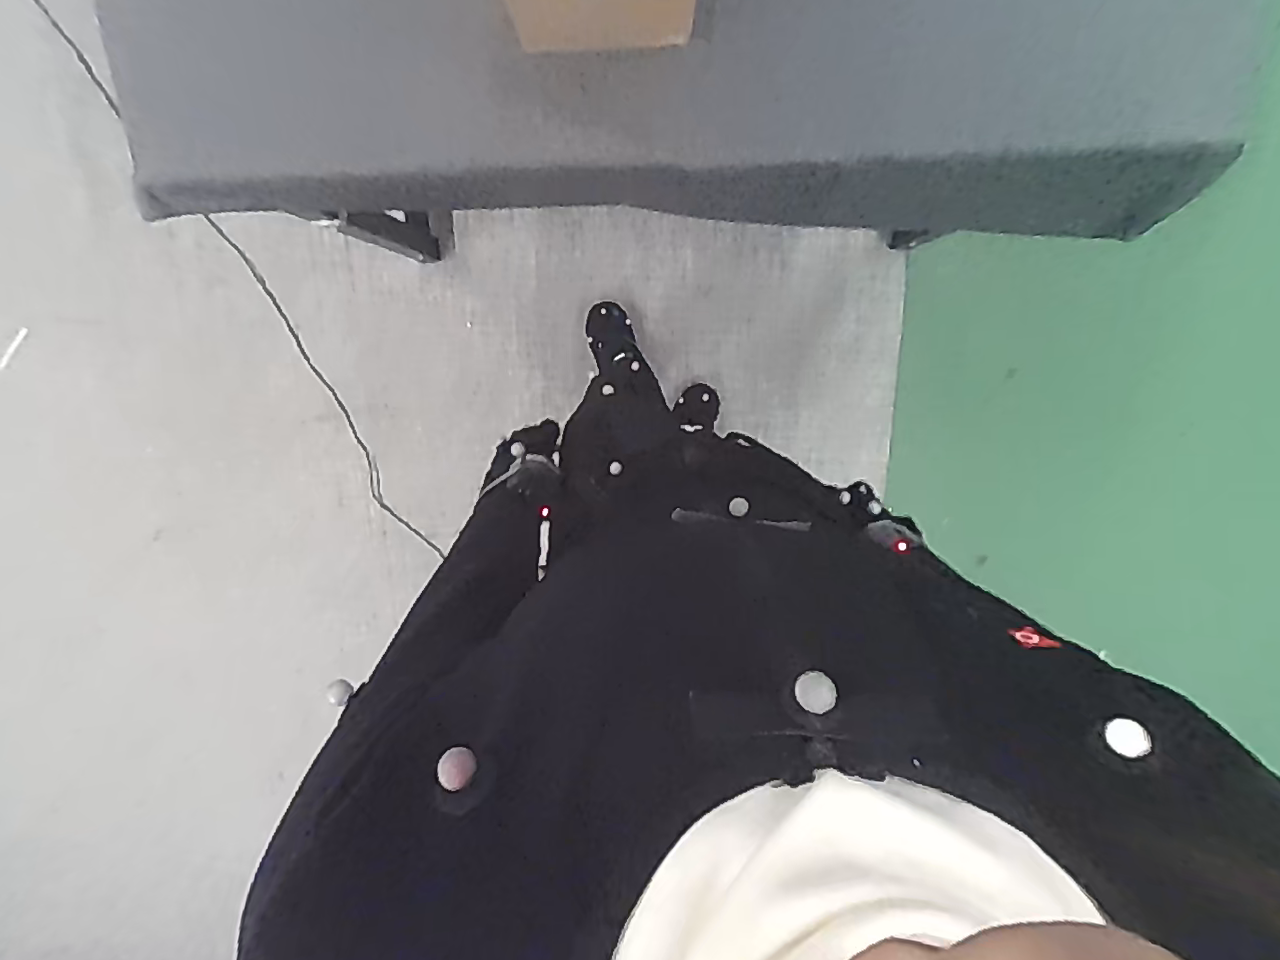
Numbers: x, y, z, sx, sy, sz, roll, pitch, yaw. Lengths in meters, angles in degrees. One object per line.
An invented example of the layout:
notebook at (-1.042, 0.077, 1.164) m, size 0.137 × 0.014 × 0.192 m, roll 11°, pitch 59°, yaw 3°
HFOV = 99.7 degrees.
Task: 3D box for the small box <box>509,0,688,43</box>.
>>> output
small box at (-0.041, -0.514, 0.467) m, size 0.179 × 0.176 × 0.168 m, roll -3°, pitch 105°, yaw 0°
